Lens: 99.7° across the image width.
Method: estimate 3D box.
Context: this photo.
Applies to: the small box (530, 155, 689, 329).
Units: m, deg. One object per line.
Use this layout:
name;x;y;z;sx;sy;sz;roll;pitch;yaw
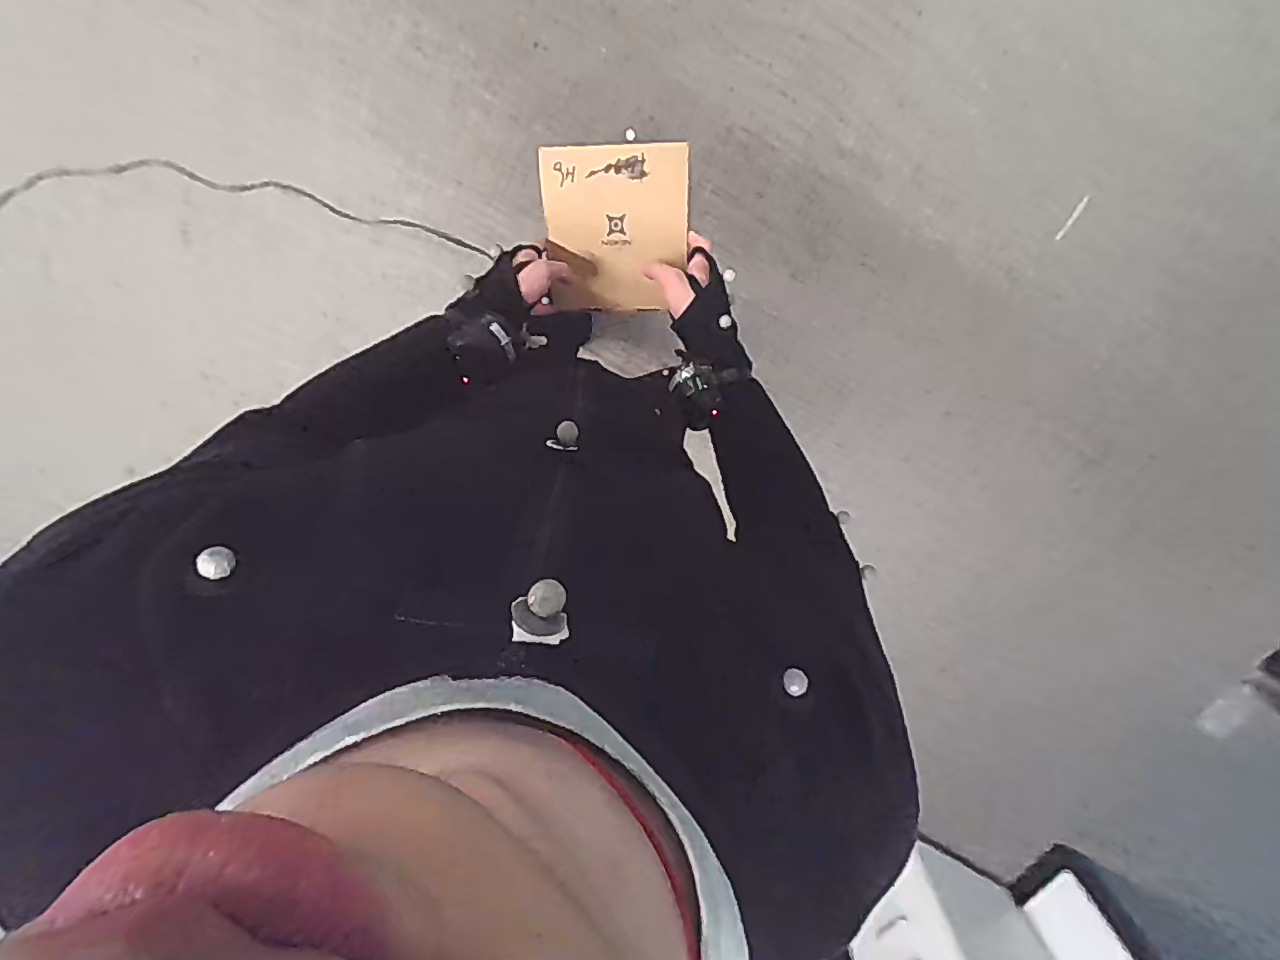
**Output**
small box;-0.024;-0.302;0.683;0.168;0.176;0.179;1;122;7
